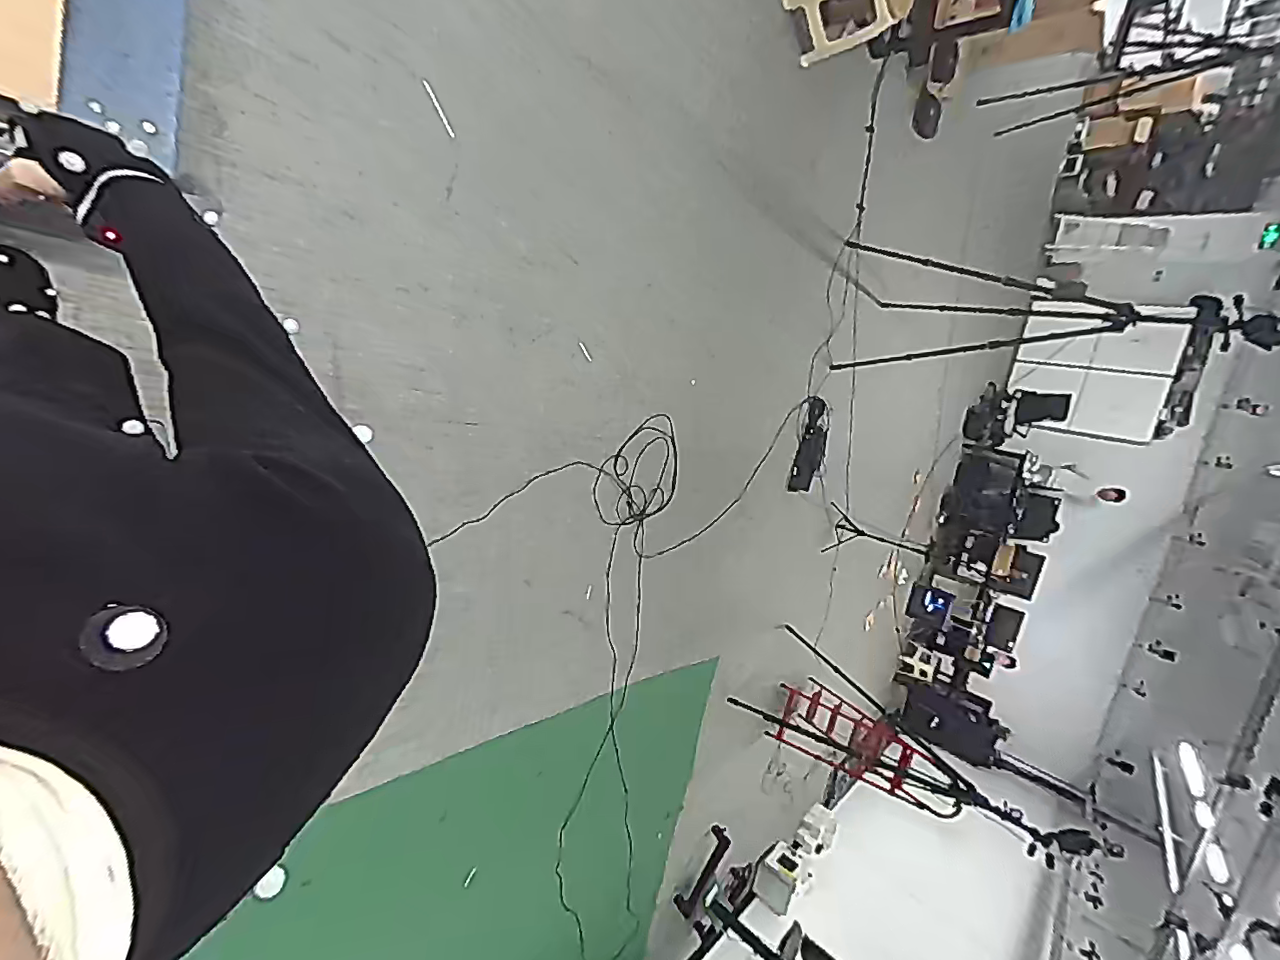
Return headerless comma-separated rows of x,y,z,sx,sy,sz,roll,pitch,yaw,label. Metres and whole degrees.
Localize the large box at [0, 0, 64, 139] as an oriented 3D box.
-0.968,-0.741,0.693,0.320,0.320,0.408,2,102,-49,large box
